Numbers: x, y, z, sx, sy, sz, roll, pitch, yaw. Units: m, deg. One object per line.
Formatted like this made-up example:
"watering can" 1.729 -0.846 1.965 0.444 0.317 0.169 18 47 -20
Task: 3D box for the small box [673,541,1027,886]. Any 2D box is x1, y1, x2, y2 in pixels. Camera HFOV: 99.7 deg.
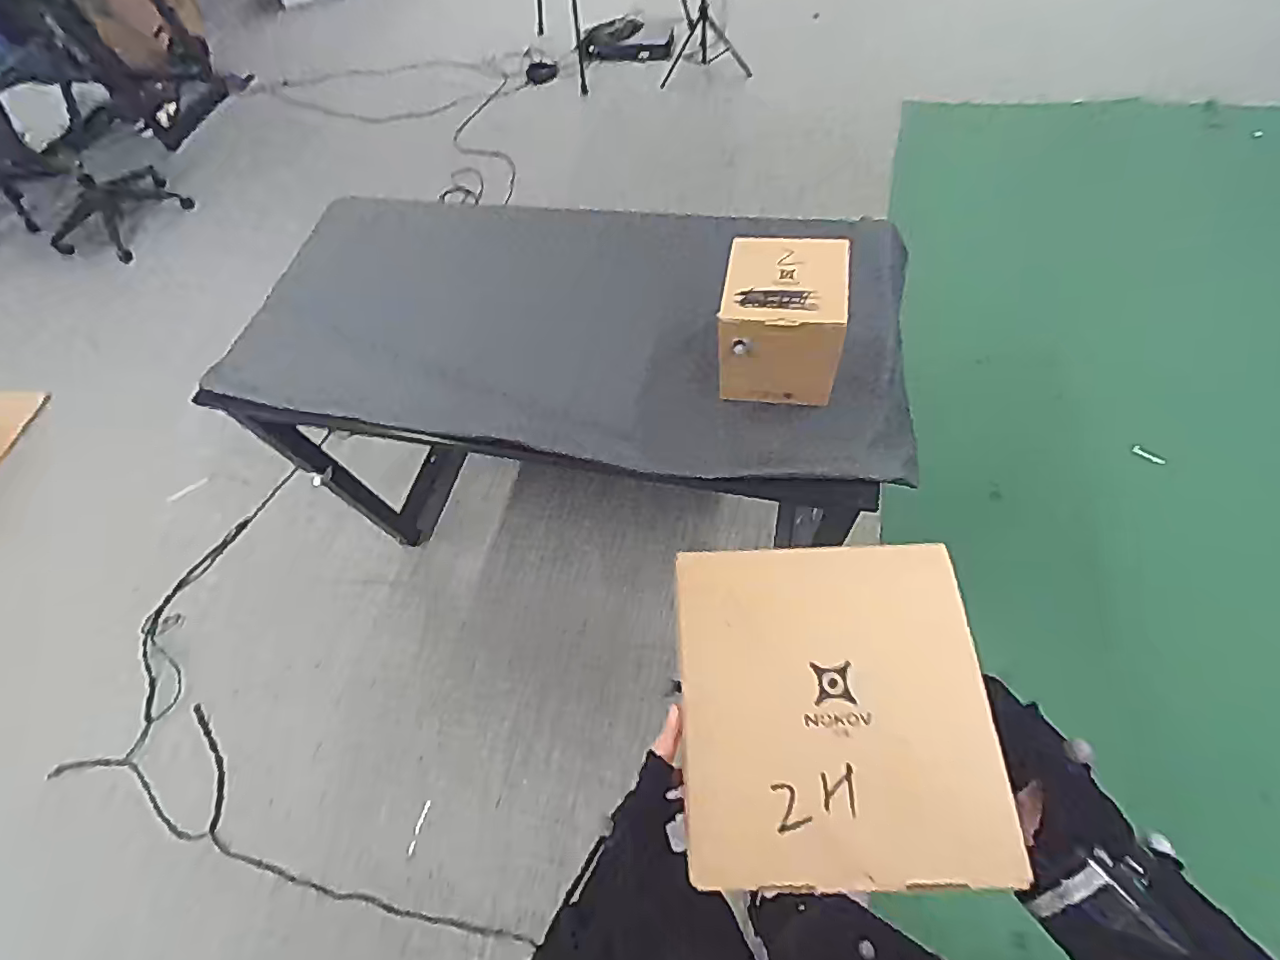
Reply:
"small box" 0.108 0.152 0.369 0.168 0.176 0.179 -3 65 3
